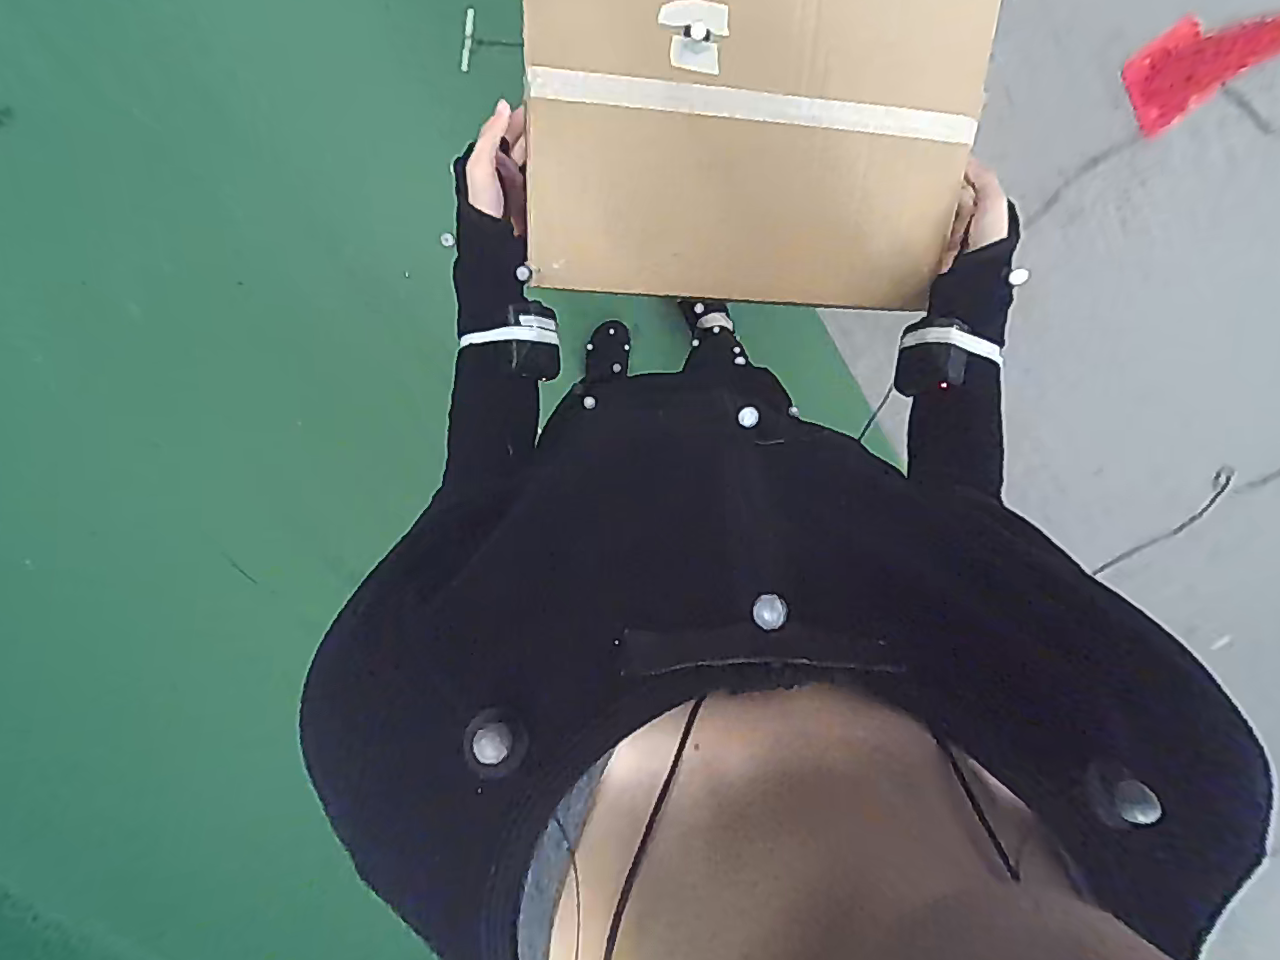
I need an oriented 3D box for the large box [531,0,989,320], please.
[{"bbox_3d":[0.088,-0.368,0.631,0.408,0.320,0.320,2,108,-8],"label":"large box"}]
